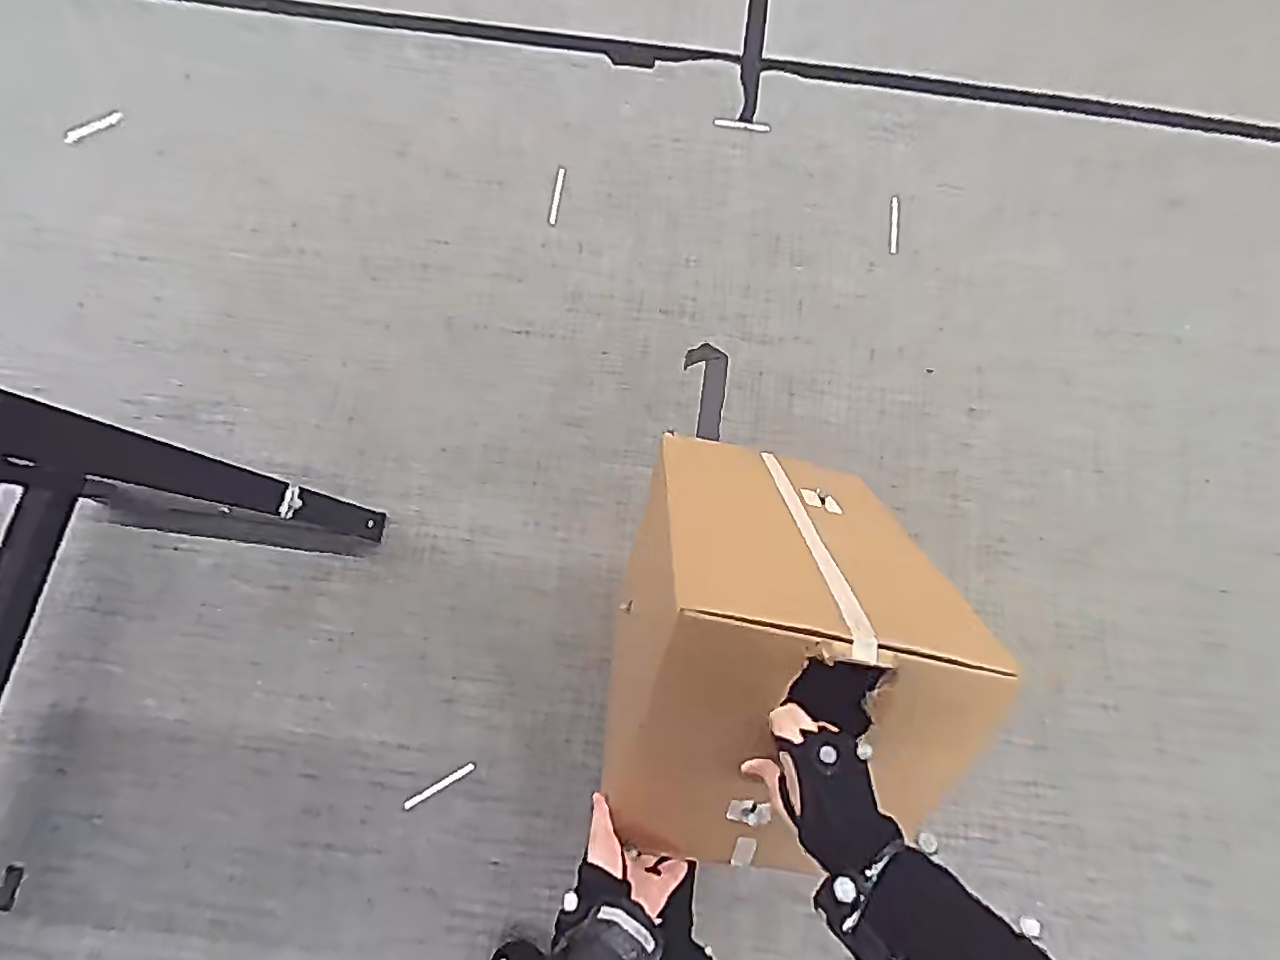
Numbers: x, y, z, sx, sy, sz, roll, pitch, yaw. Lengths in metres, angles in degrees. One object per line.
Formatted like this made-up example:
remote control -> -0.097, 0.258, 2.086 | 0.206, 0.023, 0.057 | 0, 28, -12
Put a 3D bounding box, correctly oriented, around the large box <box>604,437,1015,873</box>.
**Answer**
large box -> 0.138, 0.184, 0.679 | 0.320, 0.408, 0.320 | 13, 114, -6
